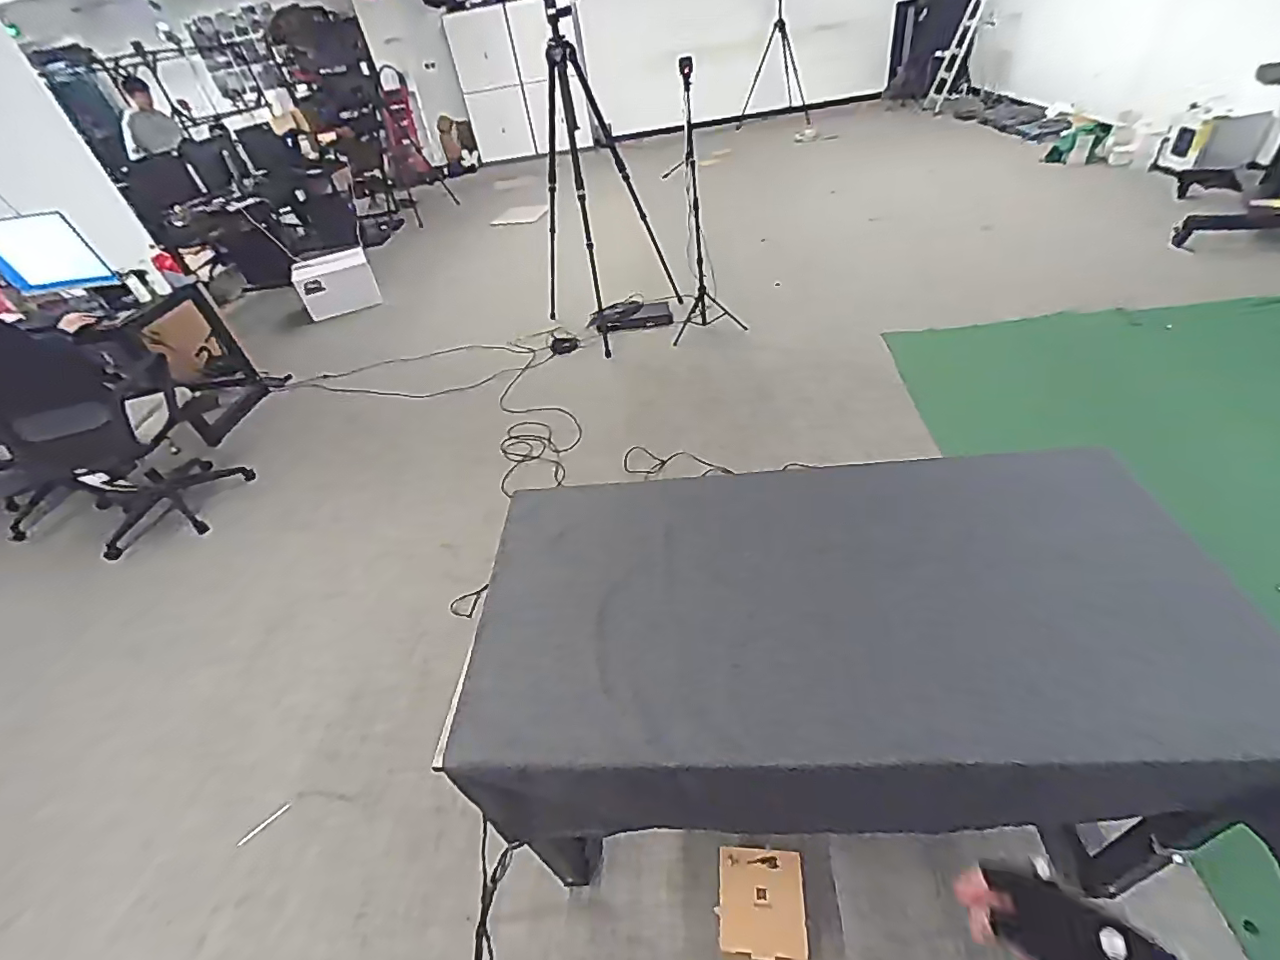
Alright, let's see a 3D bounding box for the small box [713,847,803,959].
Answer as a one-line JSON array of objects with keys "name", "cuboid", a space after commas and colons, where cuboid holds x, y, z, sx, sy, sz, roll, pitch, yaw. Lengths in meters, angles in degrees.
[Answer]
[{"name": "small box", "cuboid": [0.241, 0.885, 1.108, 0.168, 0.176, 0.179, -2, 41, 11]}]
